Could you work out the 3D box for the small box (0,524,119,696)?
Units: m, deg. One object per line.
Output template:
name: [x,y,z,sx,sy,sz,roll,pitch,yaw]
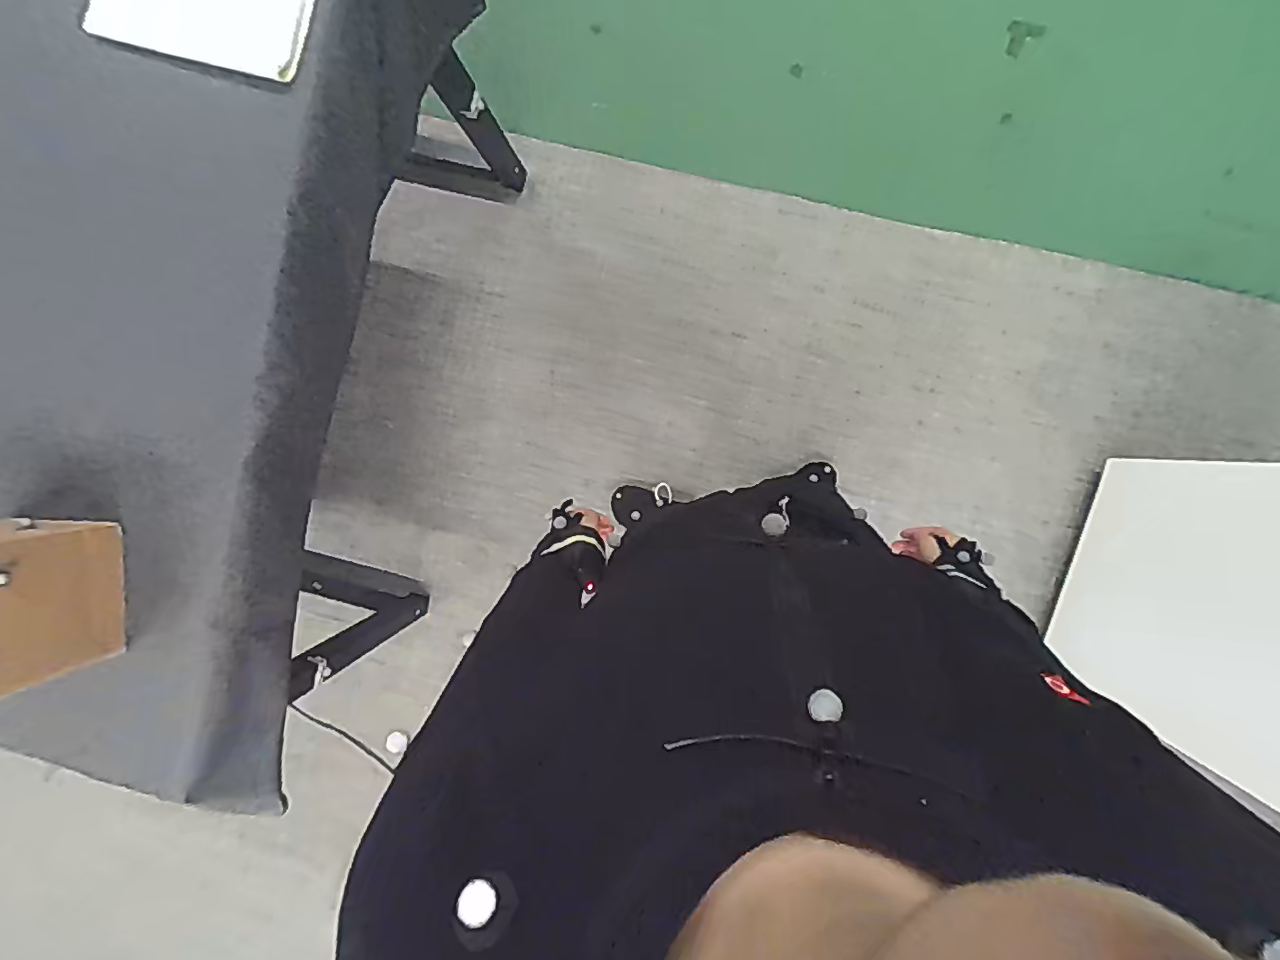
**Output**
small box: [-0.761,0.151,0.628,0.168,0.176,0.179,1,92,5]
